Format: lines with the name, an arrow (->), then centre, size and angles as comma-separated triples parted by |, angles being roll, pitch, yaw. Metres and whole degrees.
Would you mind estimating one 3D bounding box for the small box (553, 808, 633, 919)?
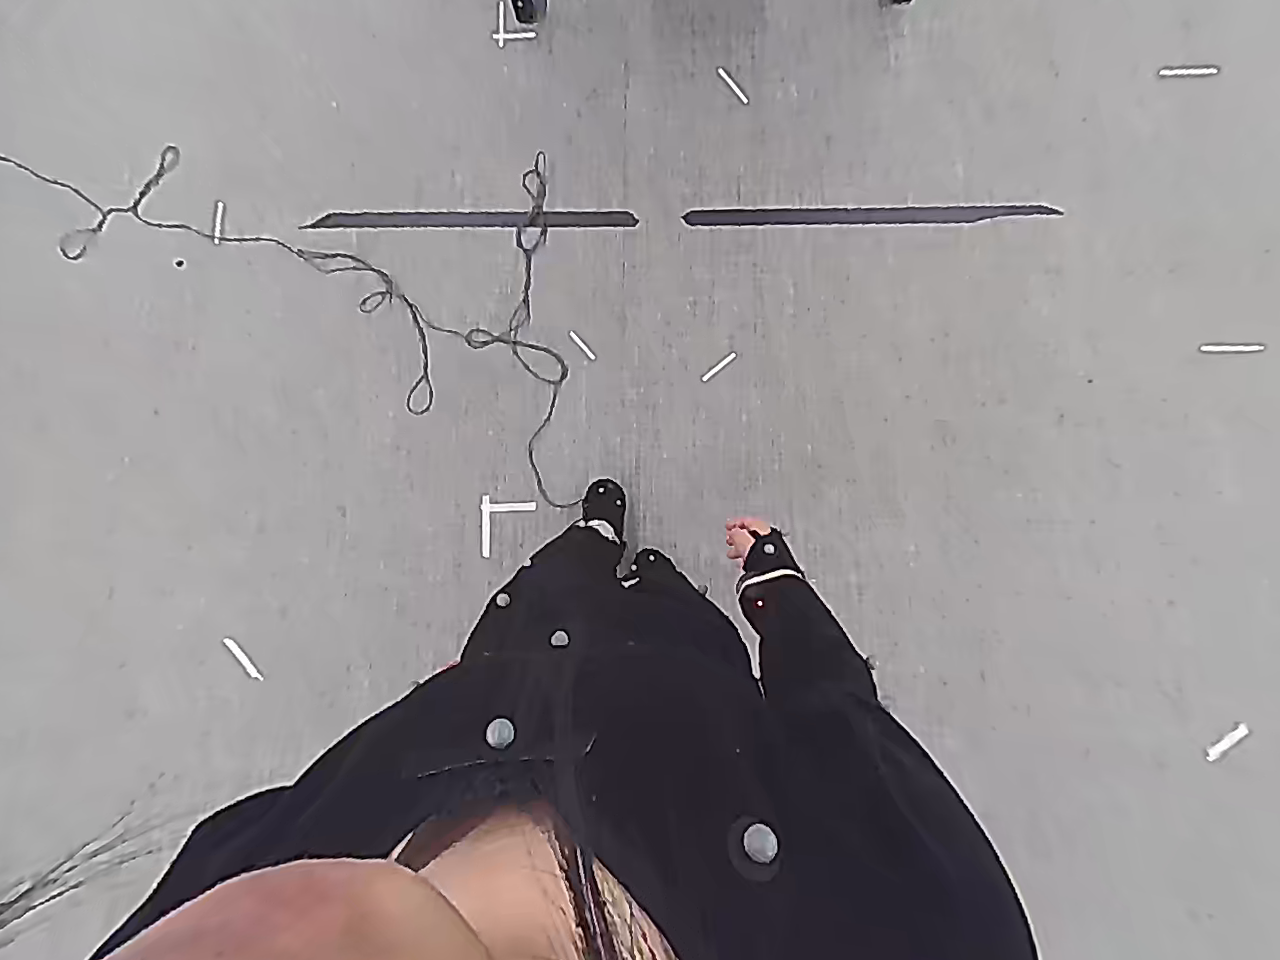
small box -> -0.111, 0.945, 1.348 | 0.179, 0.176, 0.168 | 0, 84, 3
